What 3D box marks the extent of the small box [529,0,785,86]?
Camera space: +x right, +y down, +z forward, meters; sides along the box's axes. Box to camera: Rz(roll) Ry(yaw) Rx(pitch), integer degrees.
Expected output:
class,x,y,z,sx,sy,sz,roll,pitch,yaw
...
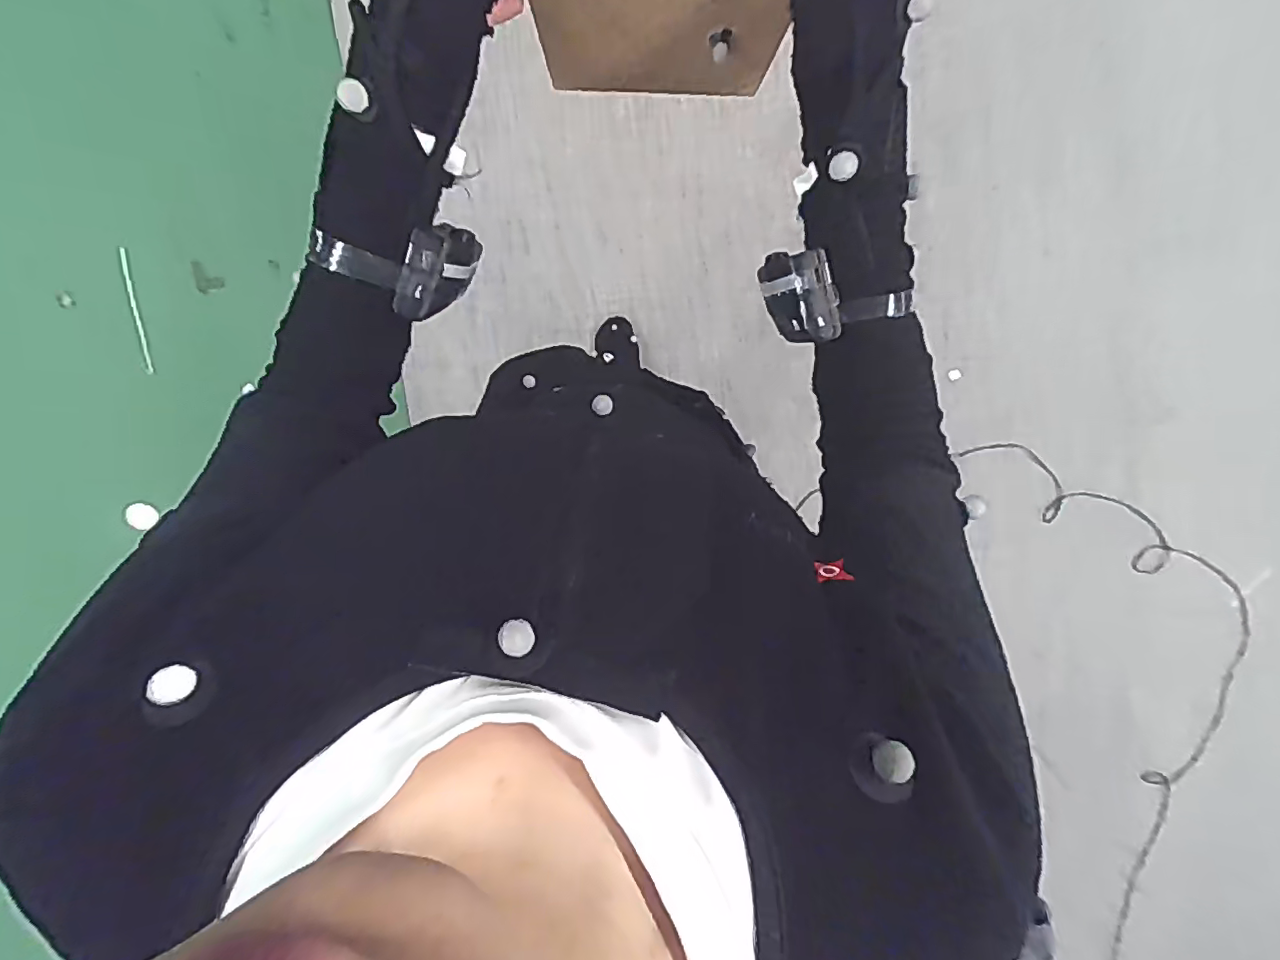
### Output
class,x,y,z,sx,sy,sz,roll,pitch,yaw
small box,0.014,-0.398,0.365,0.179,0.176,0.168,0,102,0
